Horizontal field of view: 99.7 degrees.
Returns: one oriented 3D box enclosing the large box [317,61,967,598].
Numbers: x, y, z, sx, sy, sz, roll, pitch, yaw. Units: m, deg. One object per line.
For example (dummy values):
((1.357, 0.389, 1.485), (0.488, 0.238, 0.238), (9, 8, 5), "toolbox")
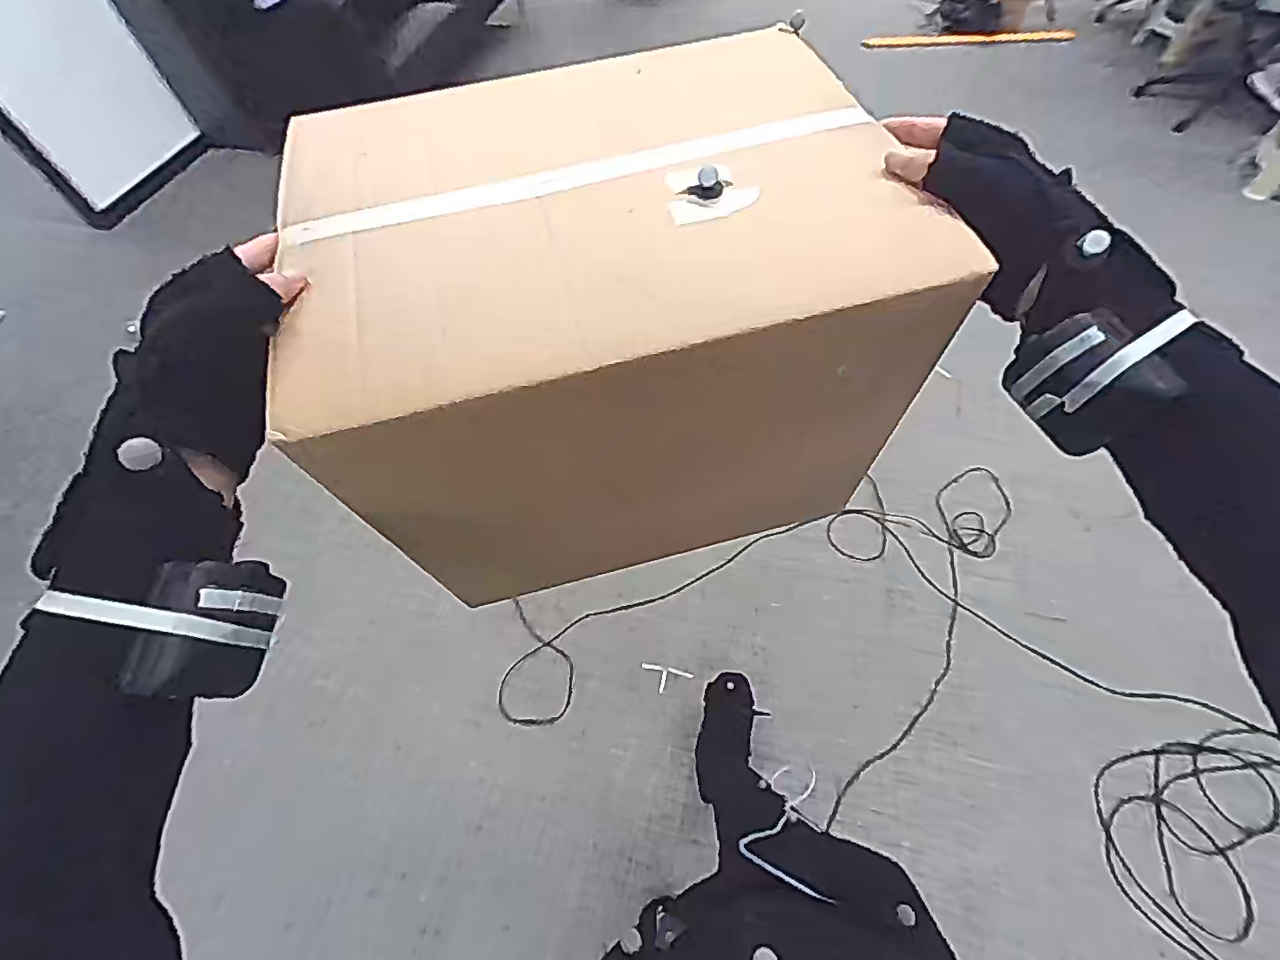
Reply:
((-0.019, -0.123, 0.515), (0.408, 0.320, 0.320), (-14, 61, -5), "large box")
